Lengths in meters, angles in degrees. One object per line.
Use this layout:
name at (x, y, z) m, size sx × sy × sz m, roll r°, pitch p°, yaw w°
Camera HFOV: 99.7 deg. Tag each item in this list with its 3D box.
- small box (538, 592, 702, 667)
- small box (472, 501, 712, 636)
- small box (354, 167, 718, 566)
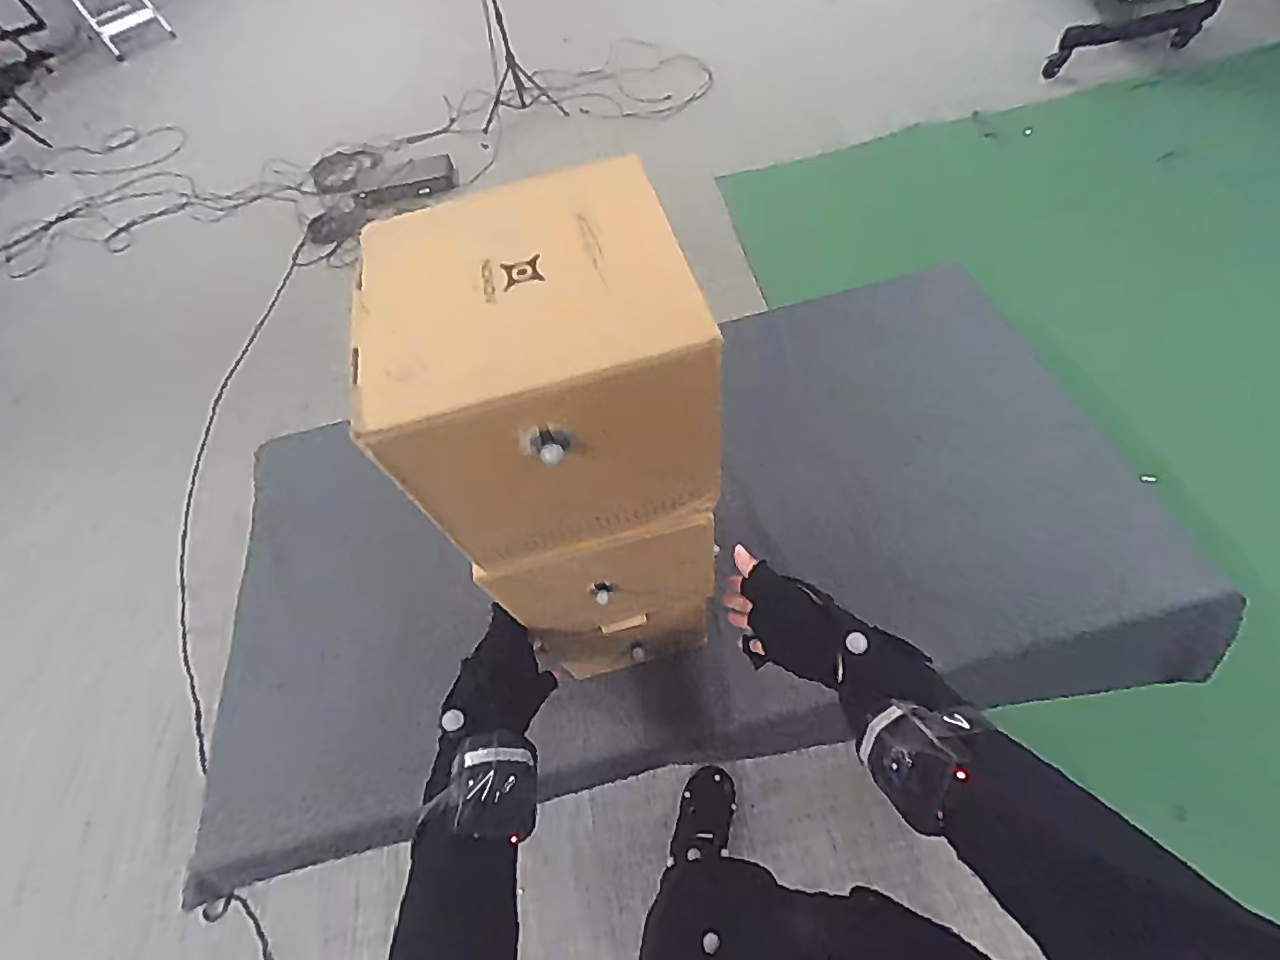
small box at (-0.028, 0.107, 0.632) m, size 0.168 × 0.176 × 0.179 m, roll -15°, pitch 59°, yaw -1°
small box at (-0.040, 0.026, 0.490) m, size 0.179 × 0.176 × 0.168 m, roll -15°, pitch 59°, yaw 0°
small box at (-0.055, -0.061, 0.354) m, size 0.179 × 0.176 × 0.168 m, roll -15°, pitch 60°, yaw -2°
